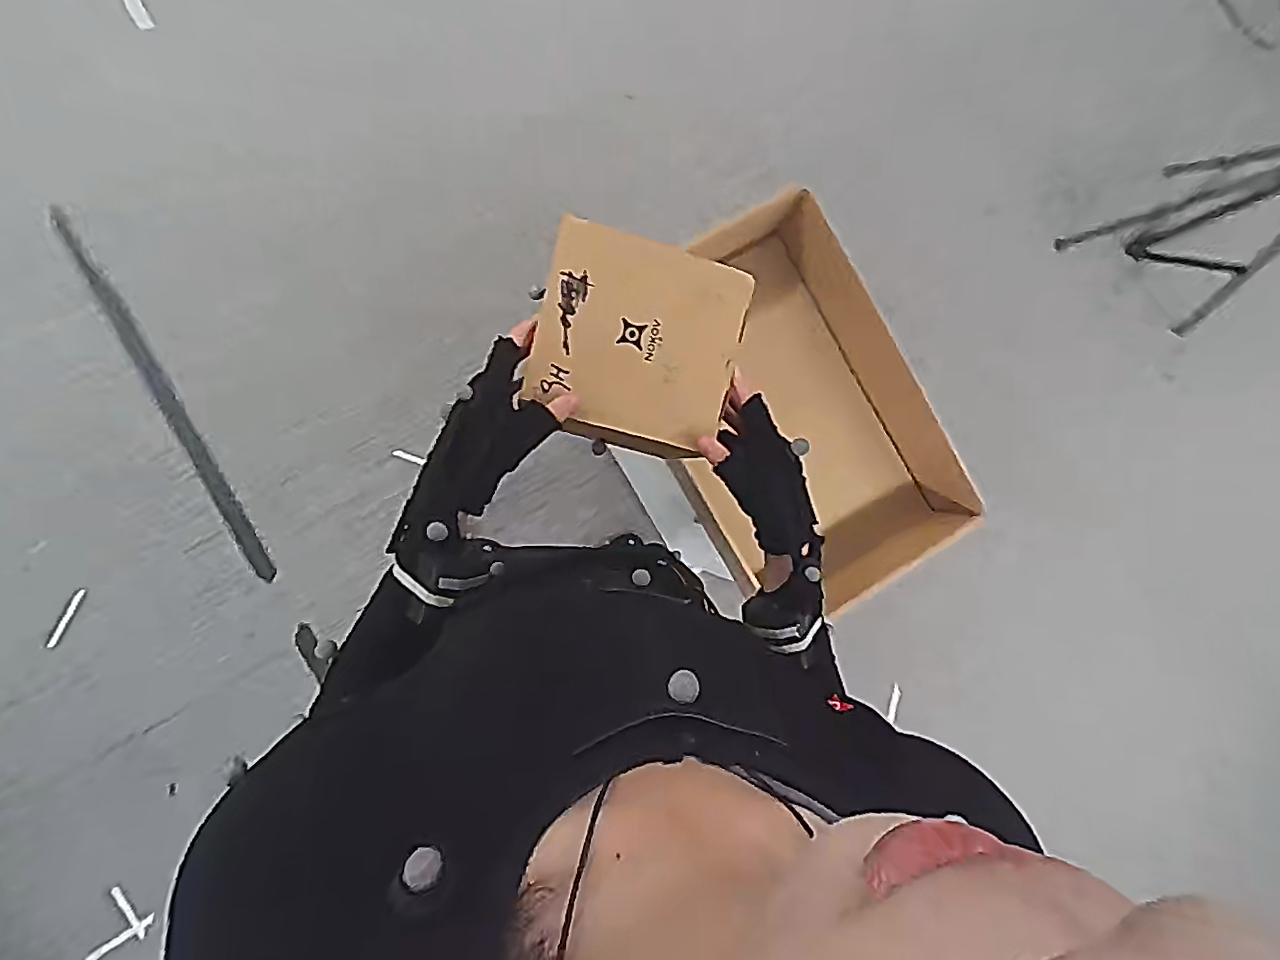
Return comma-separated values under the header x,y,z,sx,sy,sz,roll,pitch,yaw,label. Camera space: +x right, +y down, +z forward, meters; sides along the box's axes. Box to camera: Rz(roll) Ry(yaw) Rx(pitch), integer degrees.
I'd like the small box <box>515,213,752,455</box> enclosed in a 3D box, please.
x,y,z,sx,sy,sz,roll,pitch,yaw,label
-0.017,-0.124,0.535,0.179,0.176,0.168,13,89,-11,small box
